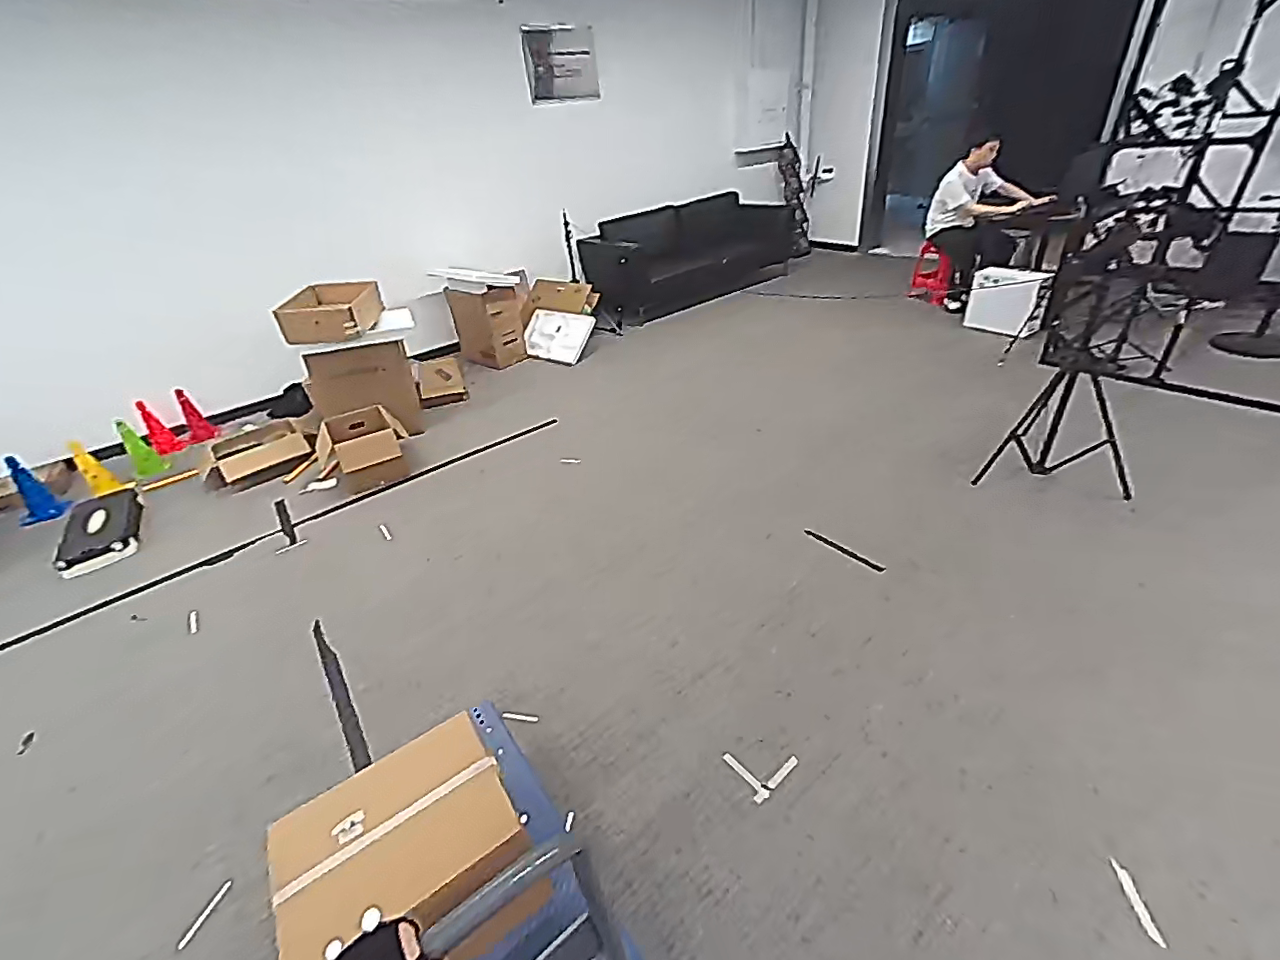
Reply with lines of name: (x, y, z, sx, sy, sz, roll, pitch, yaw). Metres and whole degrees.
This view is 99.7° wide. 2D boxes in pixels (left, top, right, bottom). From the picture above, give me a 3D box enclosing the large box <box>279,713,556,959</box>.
large box: (-0.440, 0.786, 1.114, 0.408, 0.320, 0.320, -26, 36, -25)
